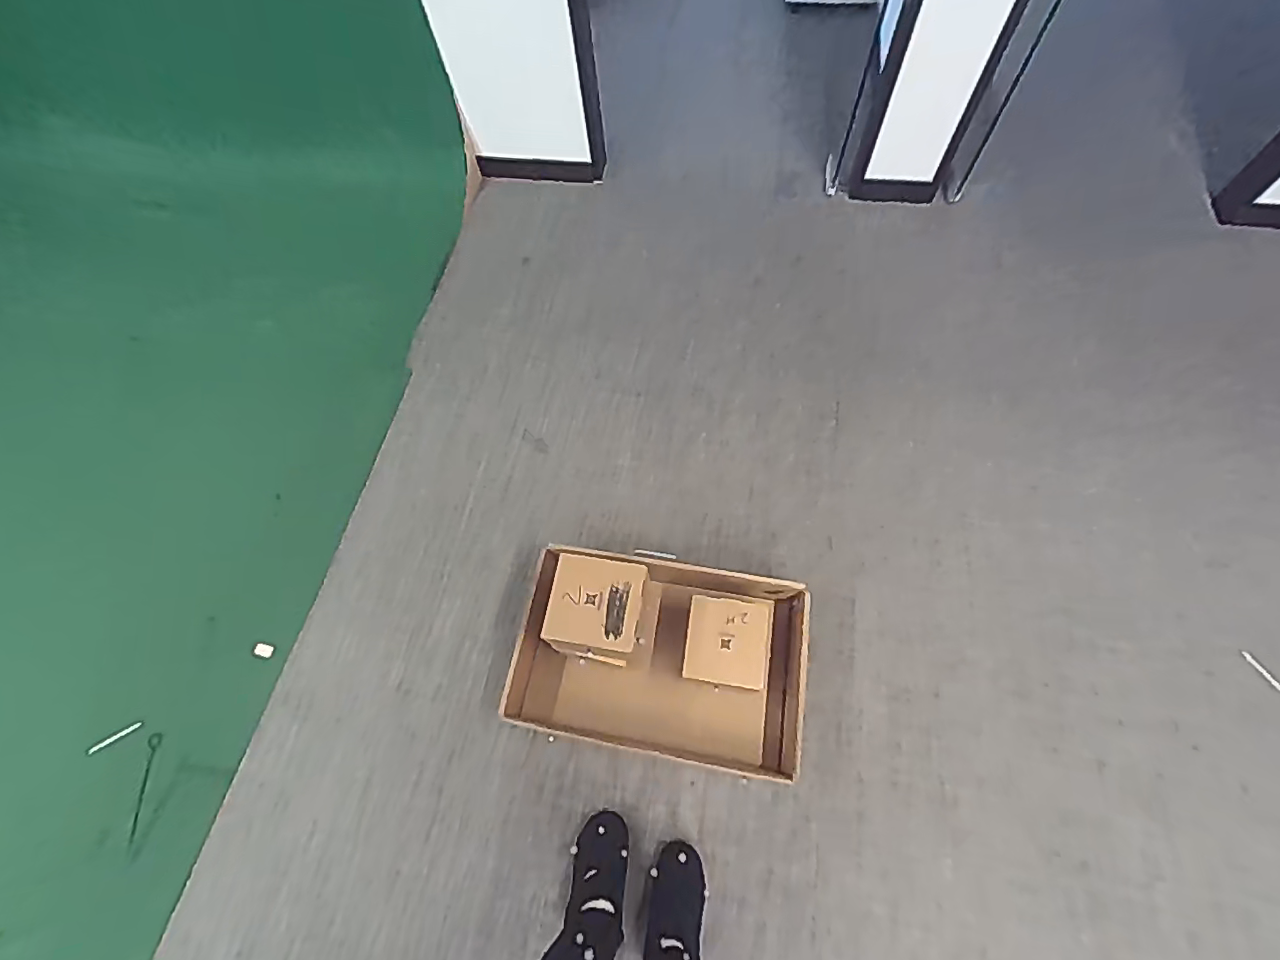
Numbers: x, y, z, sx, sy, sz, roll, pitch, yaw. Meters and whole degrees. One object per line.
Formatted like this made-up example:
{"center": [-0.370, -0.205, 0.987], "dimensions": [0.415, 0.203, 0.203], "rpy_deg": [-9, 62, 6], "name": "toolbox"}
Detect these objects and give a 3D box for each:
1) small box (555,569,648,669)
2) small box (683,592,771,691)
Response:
{"center": [-0.078, 0.324, 1.240], "dimensions": [0.168, 0.176, 0.179], "rpy_deg": [12, 67, 8], "name": "small box"}
{"center": [0.190, 0.364, 1.201], "dimensions": [0.168, 0.176, 0.179], "rpy_deg": [8, 67, 8], "name": "small box"}
